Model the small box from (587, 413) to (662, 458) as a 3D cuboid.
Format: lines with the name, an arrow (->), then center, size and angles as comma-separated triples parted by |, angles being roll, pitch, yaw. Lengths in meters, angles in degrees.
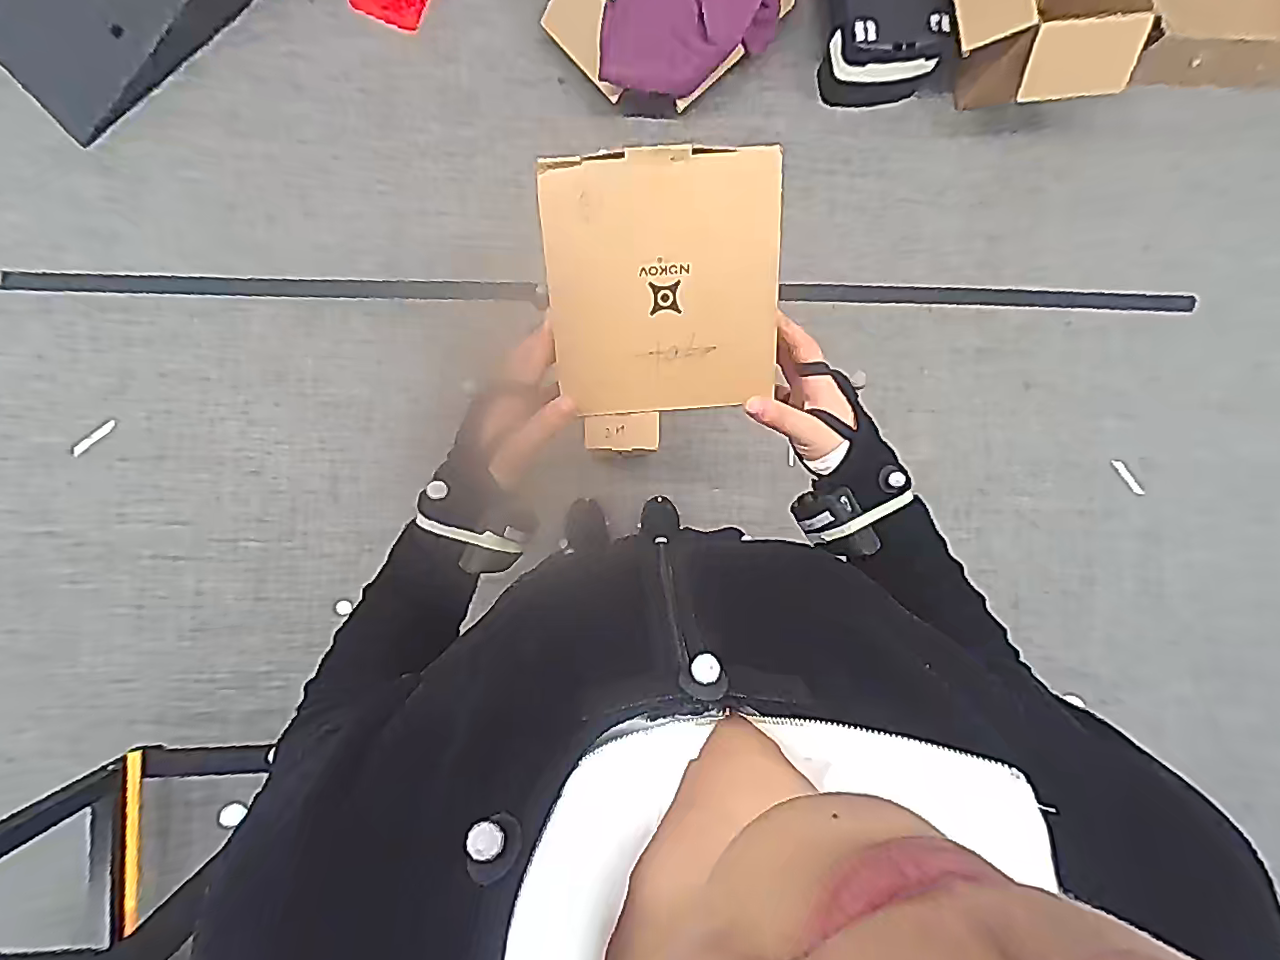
small box -> -0.039, -0.145, 1.258 | 0.168, 0.176, 0.179 | 1, 89, -3

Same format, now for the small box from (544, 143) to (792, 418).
small box -> 0.017, -0.161, 0.450 | 0.168, 0.176, 0.179 | -4, 112, -2
